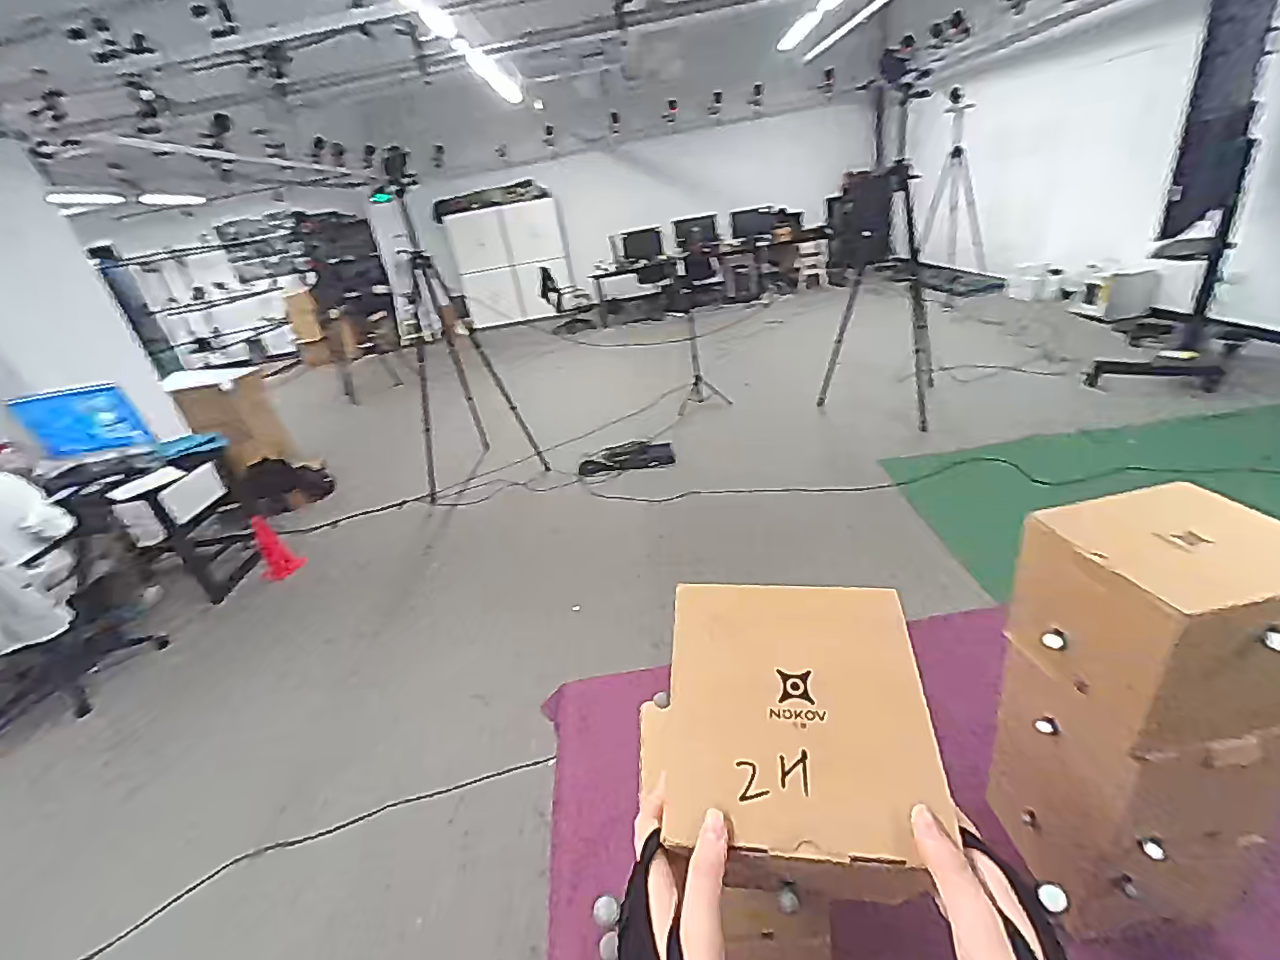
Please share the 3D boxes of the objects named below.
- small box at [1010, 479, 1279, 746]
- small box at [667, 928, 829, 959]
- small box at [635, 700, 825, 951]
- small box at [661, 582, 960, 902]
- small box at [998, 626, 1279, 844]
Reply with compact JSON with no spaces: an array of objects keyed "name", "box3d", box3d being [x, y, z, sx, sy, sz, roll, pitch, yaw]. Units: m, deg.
[{"name":"small box","box3d":[0.502,0.123,0.527,0.179,0.176,0.168,-13,26,-1]},{"name":"small box","box3d":[0.124,0.505,0.660,0.168,0.176,0.179,-9,27,5]},{"name":"small box","box3d":[0.093,0.360,0.586,0.168,0.176,0.179,-10,26,6]},{"name":"small box","box3d":[0.110,0.199,0.416,0.168,0.176,0.179,-1,48,10]},{"name":"small box","box3d":[0.535,0.266,0.597,0.168,0.176,0.179,-11,25,0]}]
